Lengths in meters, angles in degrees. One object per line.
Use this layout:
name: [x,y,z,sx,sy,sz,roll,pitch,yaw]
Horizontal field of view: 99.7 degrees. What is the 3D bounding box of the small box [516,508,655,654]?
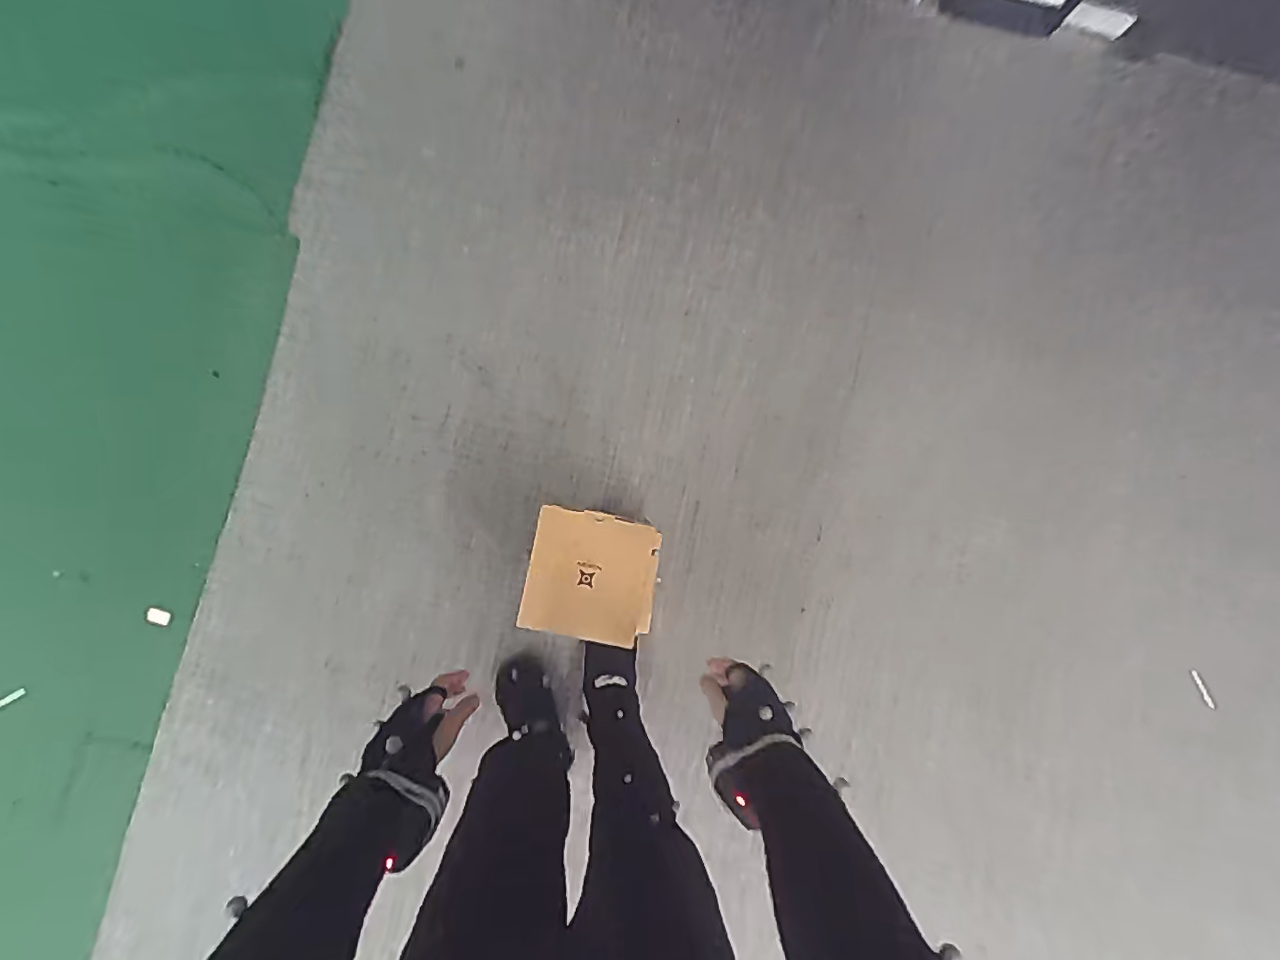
small box: [-0.076,0.144,0.829,0.168,0.176,0.179,12,86,0]
